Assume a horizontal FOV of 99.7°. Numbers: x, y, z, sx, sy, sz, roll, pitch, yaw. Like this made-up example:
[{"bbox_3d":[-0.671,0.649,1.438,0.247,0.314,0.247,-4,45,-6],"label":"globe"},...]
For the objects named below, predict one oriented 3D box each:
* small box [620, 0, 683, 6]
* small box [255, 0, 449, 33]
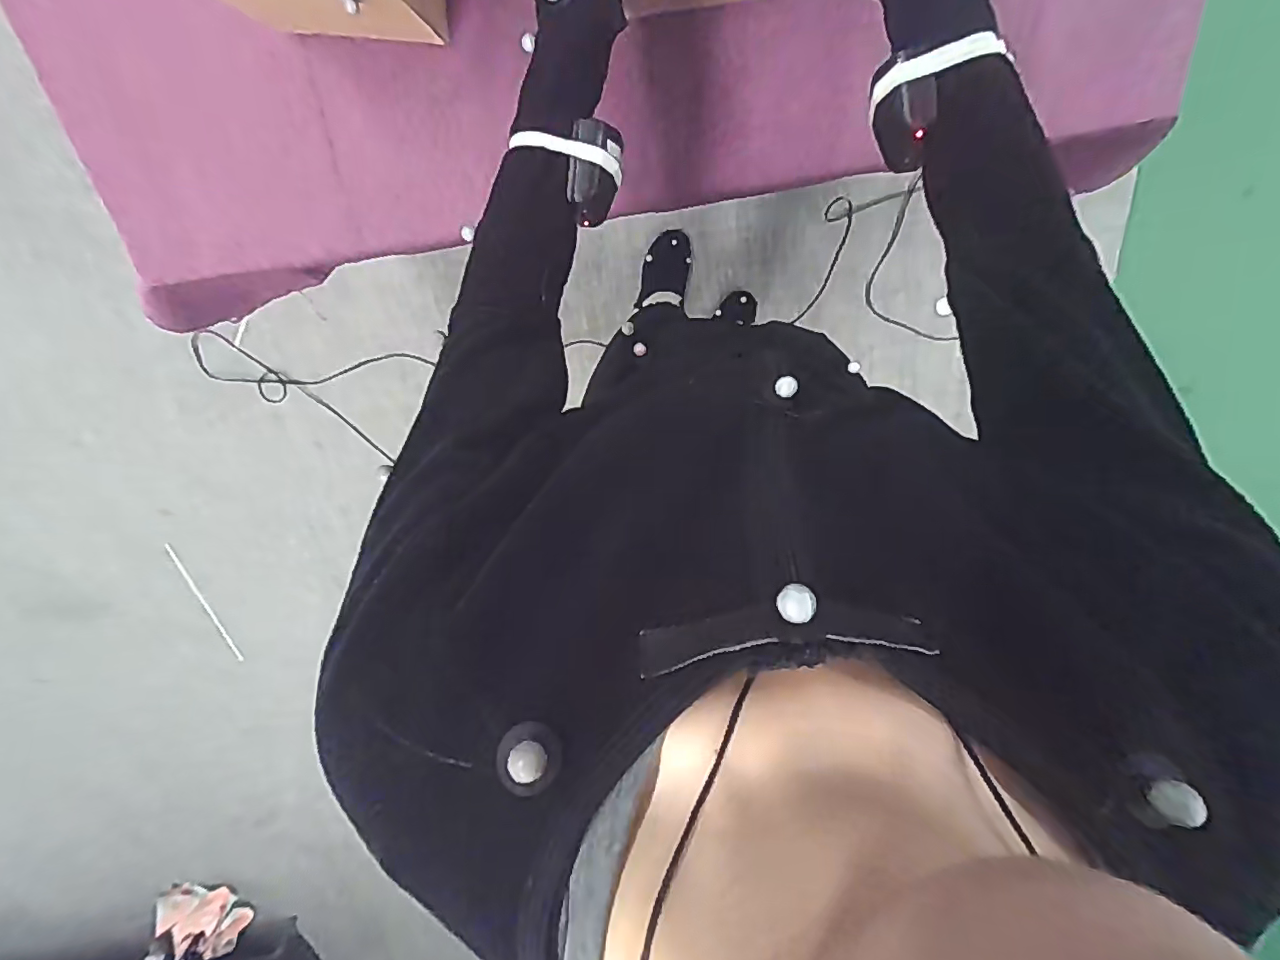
[{"bbox_3d":[0.056,-0.528,0.441,0.179,0.176,0.168,-7,115,2],"label":"small box"},{"bbox_3d":[-0.280,-0.508,0.456,0.179,0.176,0.168,1,115,-2],"label":"small box"}]
